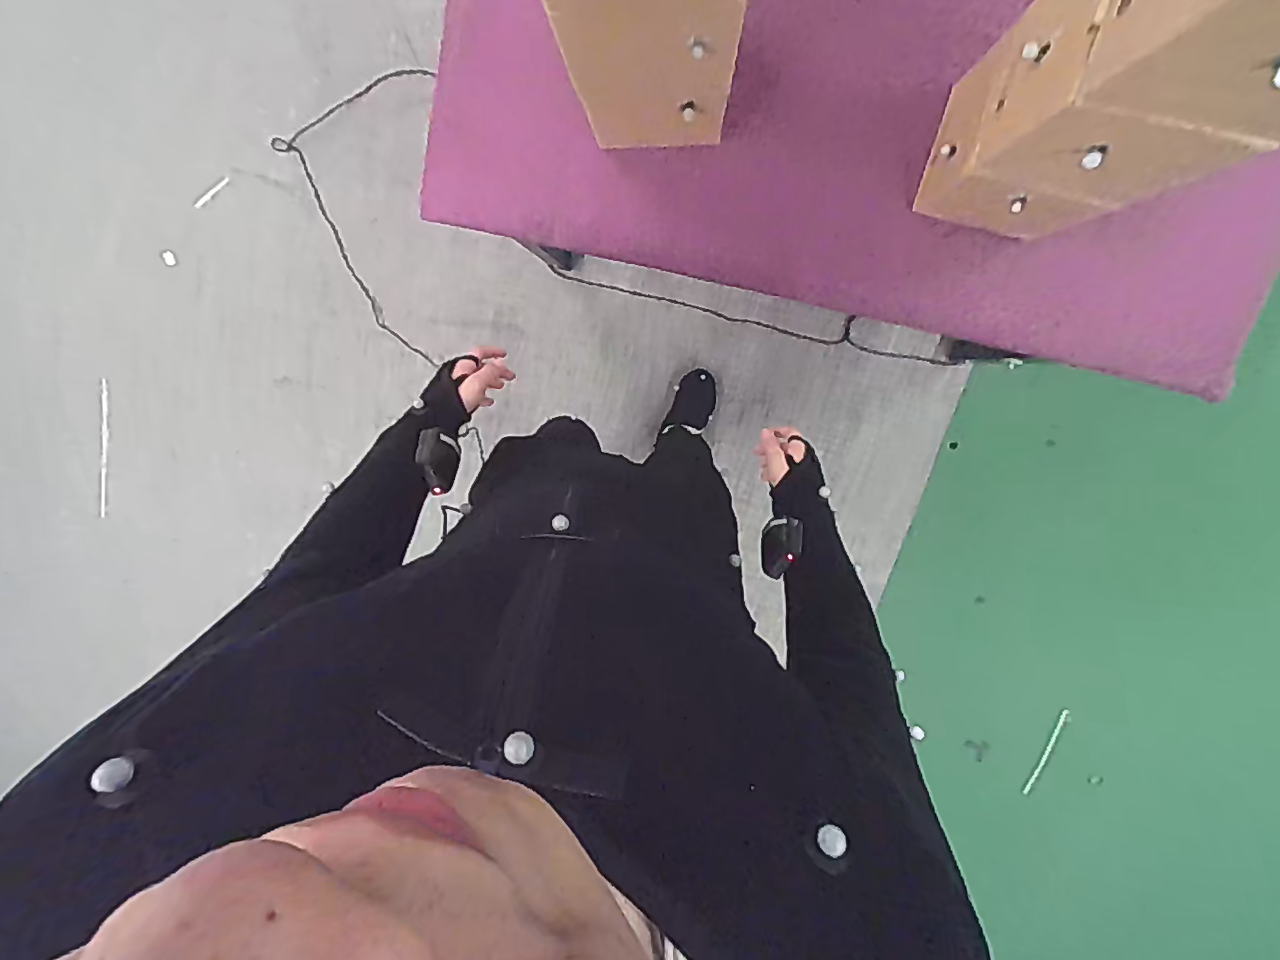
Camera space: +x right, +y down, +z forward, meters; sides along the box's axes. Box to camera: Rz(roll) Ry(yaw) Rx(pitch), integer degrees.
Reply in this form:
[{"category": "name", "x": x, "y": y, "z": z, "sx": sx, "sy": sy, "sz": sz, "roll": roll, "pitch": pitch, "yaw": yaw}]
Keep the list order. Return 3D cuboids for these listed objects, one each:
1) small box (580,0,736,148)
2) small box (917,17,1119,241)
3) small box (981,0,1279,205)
[{"category": "small box", "x": 0.024, "y": -0.540, "z": 0.680, "sx": 0.179, "sy": 0.176, "sz": 0.168, "roll": 1, "pitch": 102, "yaw": 4}, {"category": "small box", "x": 0.484, "y": -0.417, "z": 0.675, "sx": 0.179, "sy": 0.176, "sz": 0.168, "roll": 16, "pitch": 103, "yaw": 1}, {"category": "small box", "x": 0.472, "y": -0.384, "z": 0.515, "sx": 0.179, "sy": 0.176, "sz": 0.168, "roll": 15, "pitch": 104, "yaw": 2}]
